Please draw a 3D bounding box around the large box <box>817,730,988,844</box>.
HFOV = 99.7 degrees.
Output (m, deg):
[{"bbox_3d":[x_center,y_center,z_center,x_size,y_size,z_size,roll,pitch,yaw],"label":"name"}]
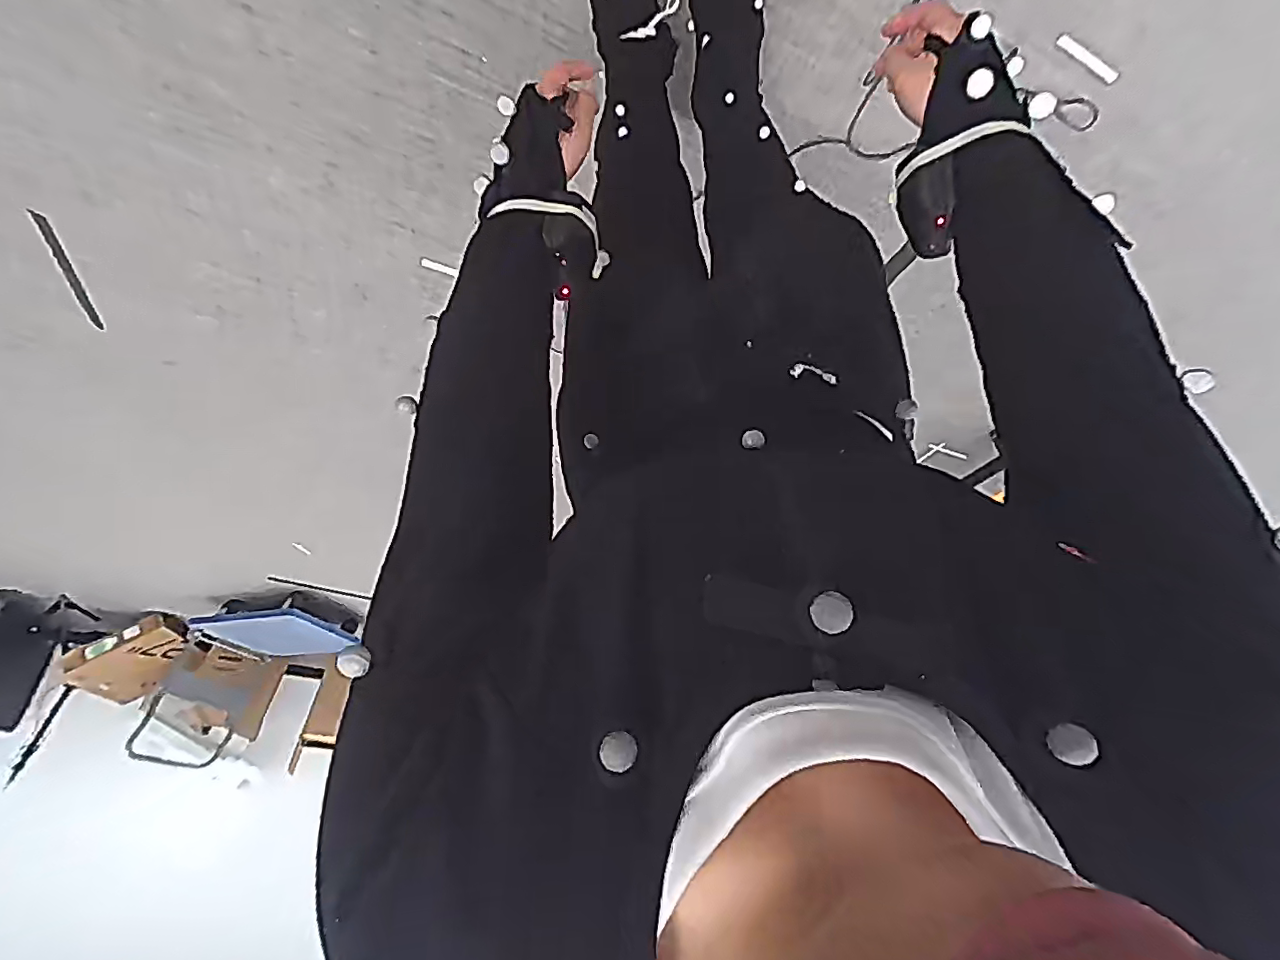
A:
[{"bbox_3d":[0.902,1.086,1.906,0.408,0.320,0.320,14,144,-17],"label":"large box"}]
